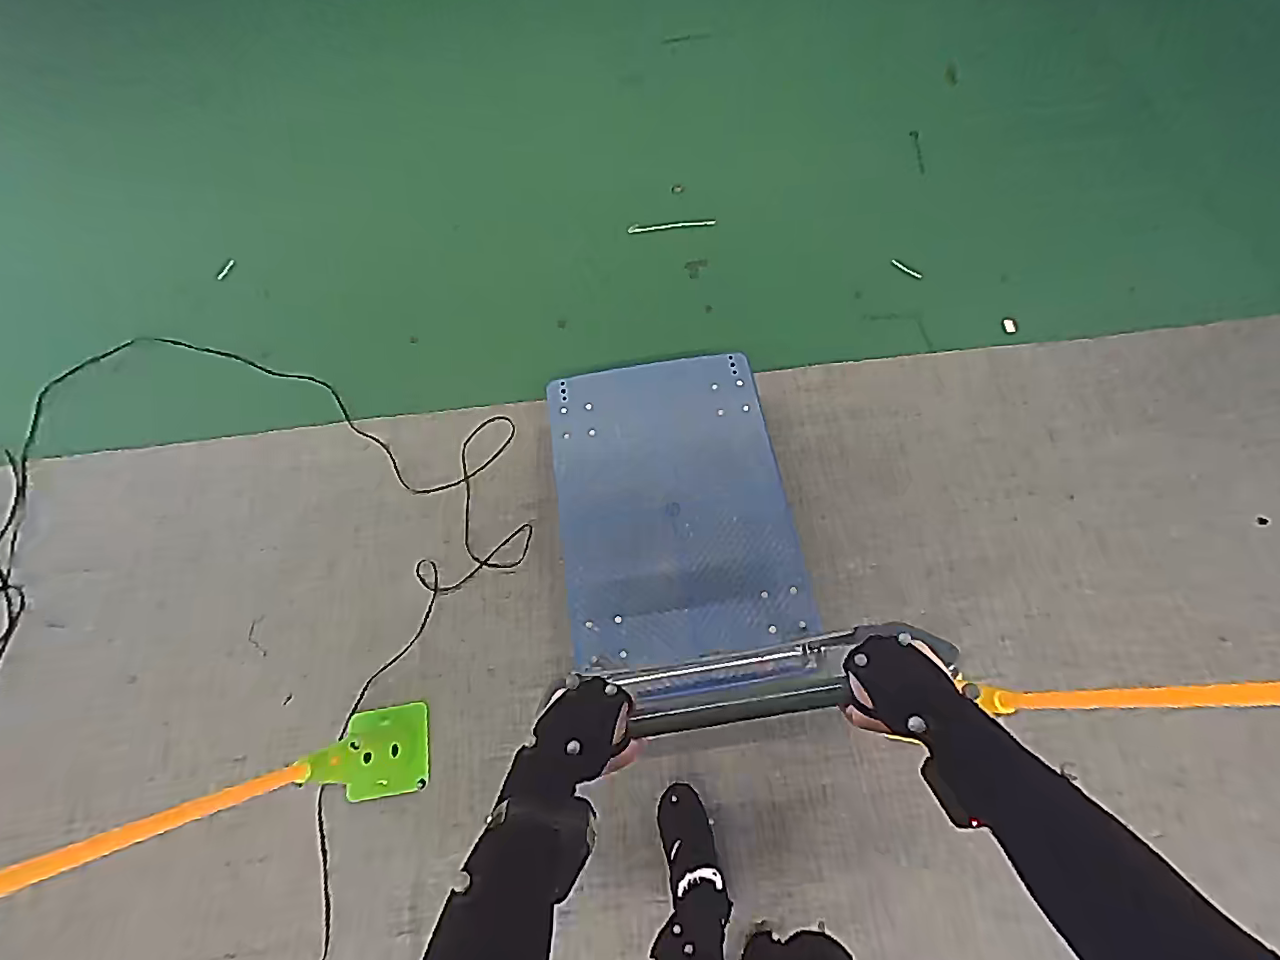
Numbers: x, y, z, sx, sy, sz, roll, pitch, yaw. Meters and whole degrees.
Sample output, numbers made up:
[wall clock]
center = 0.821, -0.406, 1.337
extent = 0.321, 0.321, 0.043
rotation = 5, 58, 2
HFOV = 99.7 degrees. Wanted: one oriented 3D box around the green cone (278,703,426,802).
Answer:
[green cone]
center = -0.640, 0.606, 1.175
extent = 0.202, 0.368, 0.200
rotation = -11, 68, 0
